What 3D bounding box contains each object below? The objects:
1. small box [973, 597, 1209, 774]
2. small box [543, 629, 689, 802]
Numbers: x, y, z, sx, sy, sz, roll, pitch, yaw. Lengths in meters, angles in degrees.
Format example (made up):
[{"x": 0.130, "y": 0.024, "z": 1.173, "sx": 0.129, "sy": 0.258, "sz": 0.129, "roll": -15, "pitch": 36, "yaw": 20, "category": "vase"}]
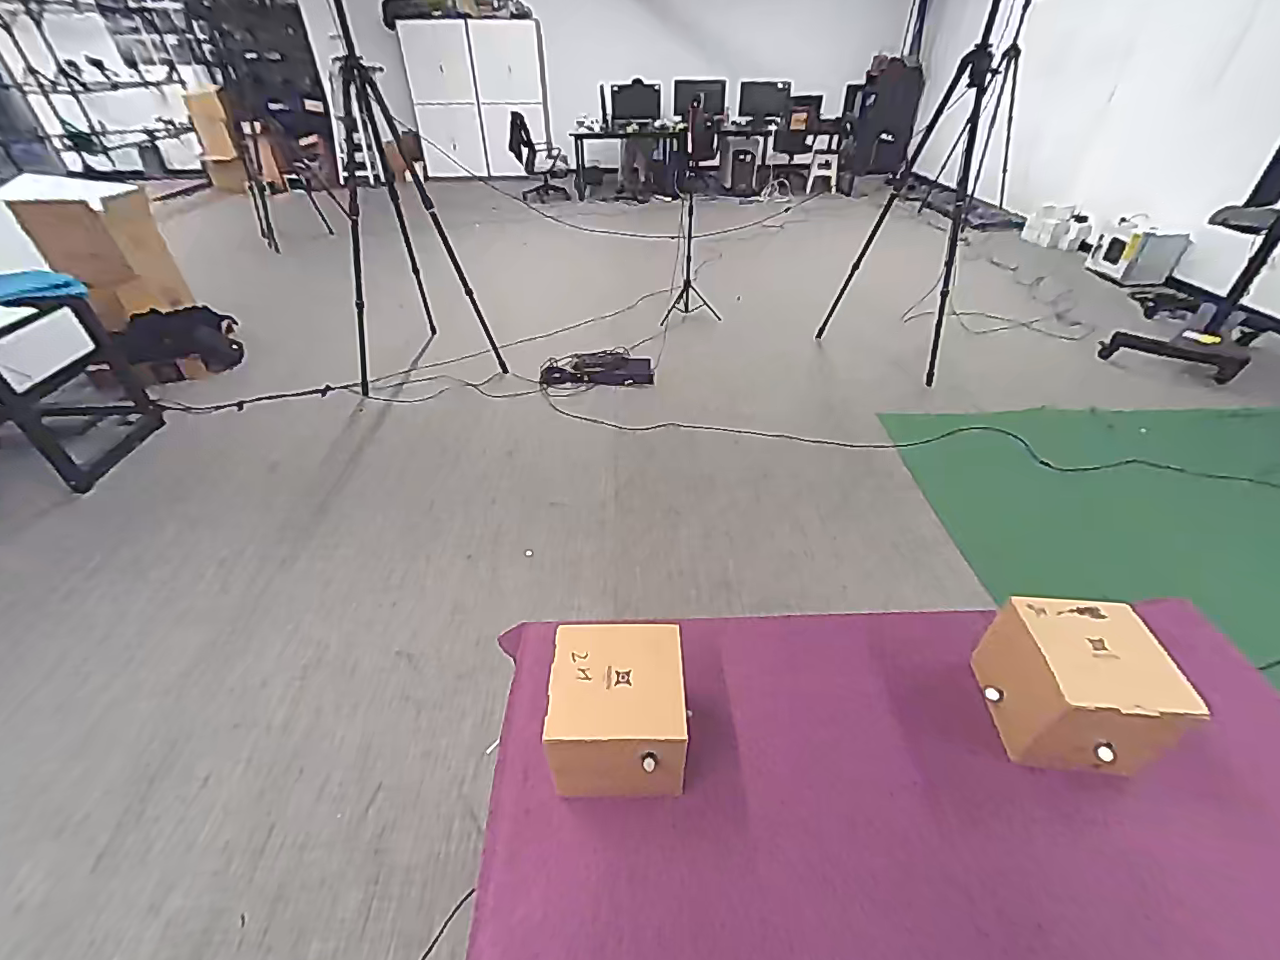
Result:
[{"x": 0.615, "y": 0.292, "z": 0.770, "sx": 0.168, "sy": 0.176, "sz": 0.179, "roll": 3, "pitch": 39, "yaw": 5, "category": "small box"}, {"x": -0.028, "y": 0.327, "z": 0.752, "sx": 0.179, "sy": 0.176, "sz": 0.168, "roll": -1, "pitch": 38, "yaw": 1, "category": "small box"}]
